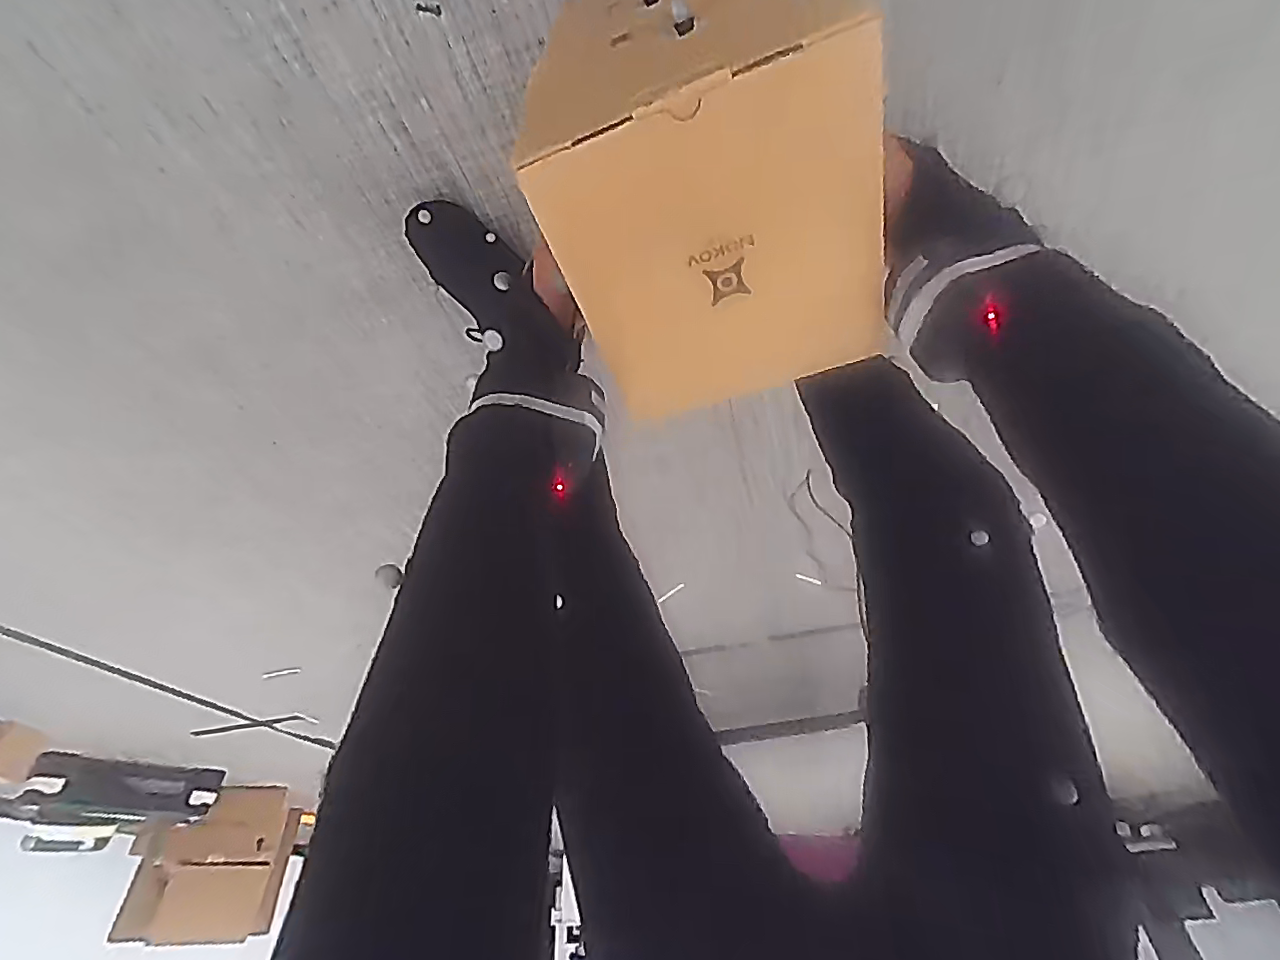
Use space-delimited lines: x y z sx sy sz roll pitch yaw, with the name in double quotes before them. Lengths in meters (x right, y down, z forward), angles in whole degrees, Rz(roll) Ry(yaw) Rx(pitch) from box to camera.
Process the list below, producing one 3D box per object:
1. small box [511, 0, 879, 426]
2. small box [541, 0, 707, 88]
"small box" 0.040 -0.169 0.344 0.168 0.176 0.179 -16 137 12
"small box" 0.029 -0.287 0.457 0.168 0.176 0.179 -15 138 12
